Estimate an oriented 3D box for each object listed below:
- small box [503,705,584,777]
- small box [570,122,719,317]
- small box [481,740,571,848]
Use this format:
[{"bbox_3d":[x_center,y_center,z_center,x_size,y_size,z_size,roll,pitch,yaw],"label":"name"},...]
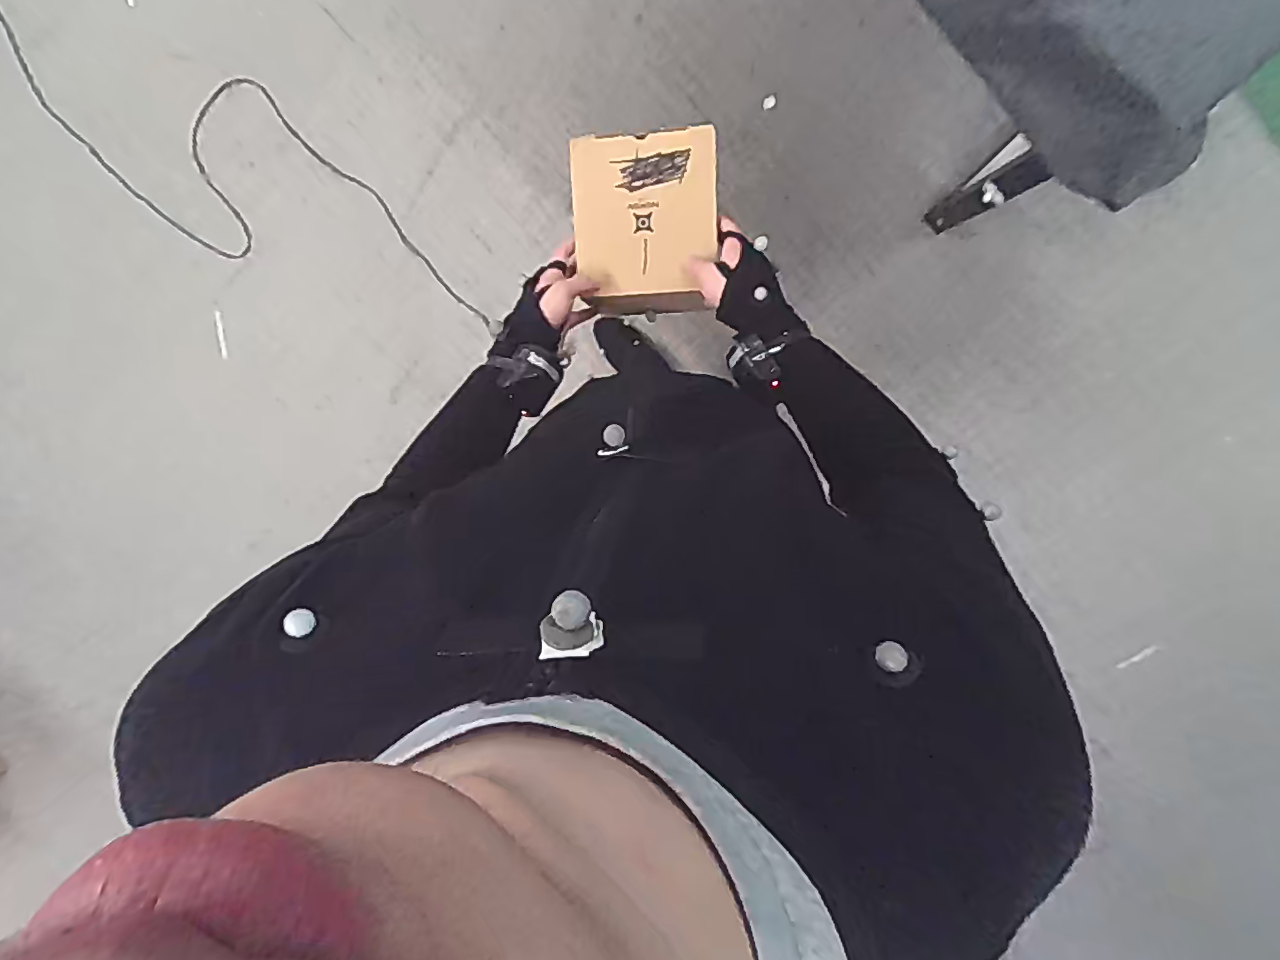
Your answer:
[{"bbox_3d":[-0.296,0.857,1.713,0.168,0.176,0.179,45,104,-5],"label":"small box"},{"bbox_3d":[0.012,-0.308,0.674,0.168,0.176,0.179,-1,99,7],"label":"small box"},{"bbox_3d":[-0.317,0.895,1.556,0.179,0.176,0.168,-43,94,16],"label":"small box"}]
